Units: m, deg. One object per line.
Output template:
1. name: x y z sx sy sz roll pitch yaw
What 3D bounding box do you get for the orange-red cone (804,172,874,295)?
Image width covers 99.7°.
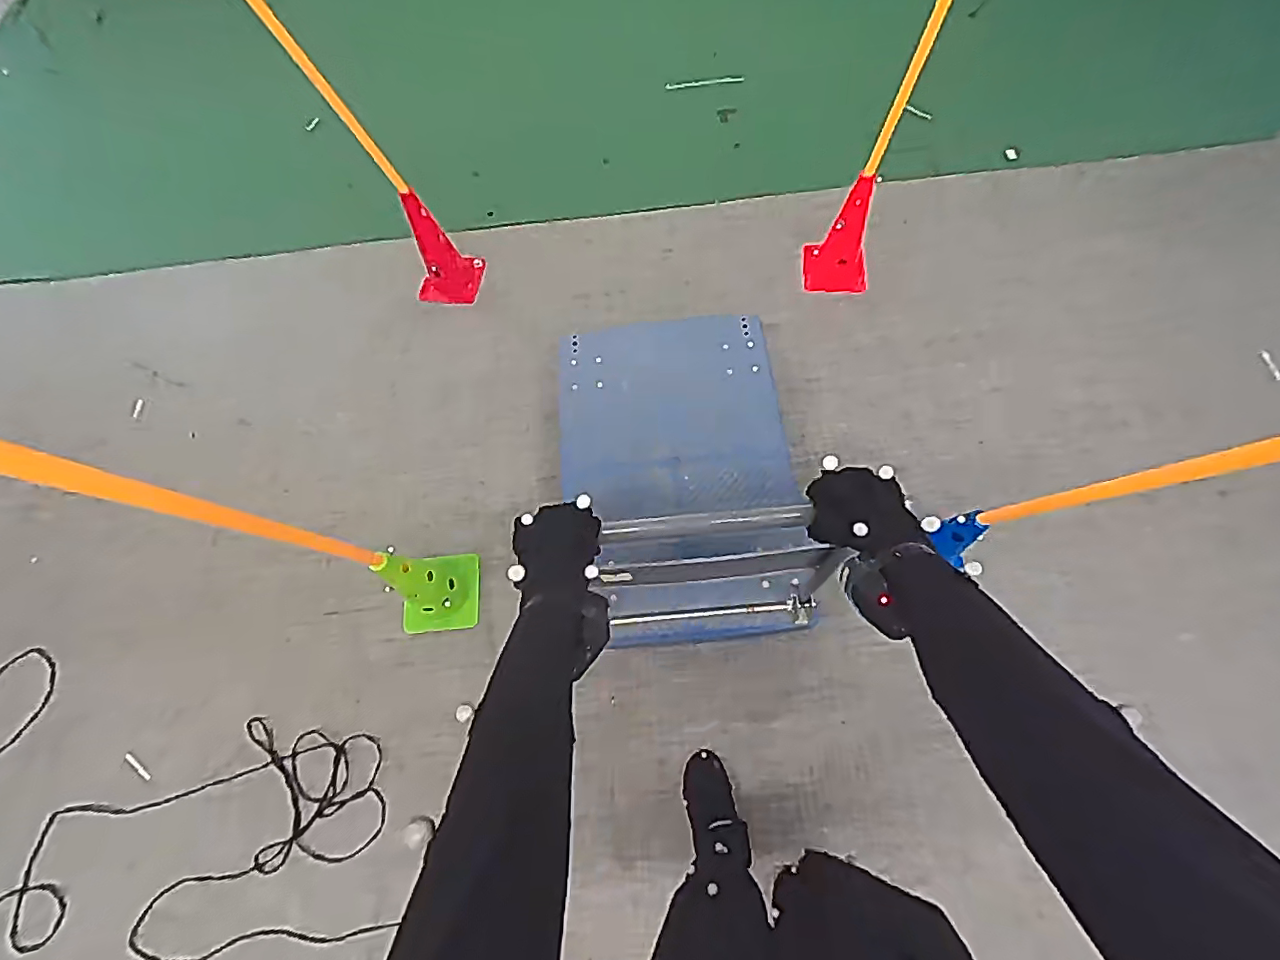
1. orange-red cone: 0.633 -0.756 1.631 0.198 0.360 0.199 4 69 6
